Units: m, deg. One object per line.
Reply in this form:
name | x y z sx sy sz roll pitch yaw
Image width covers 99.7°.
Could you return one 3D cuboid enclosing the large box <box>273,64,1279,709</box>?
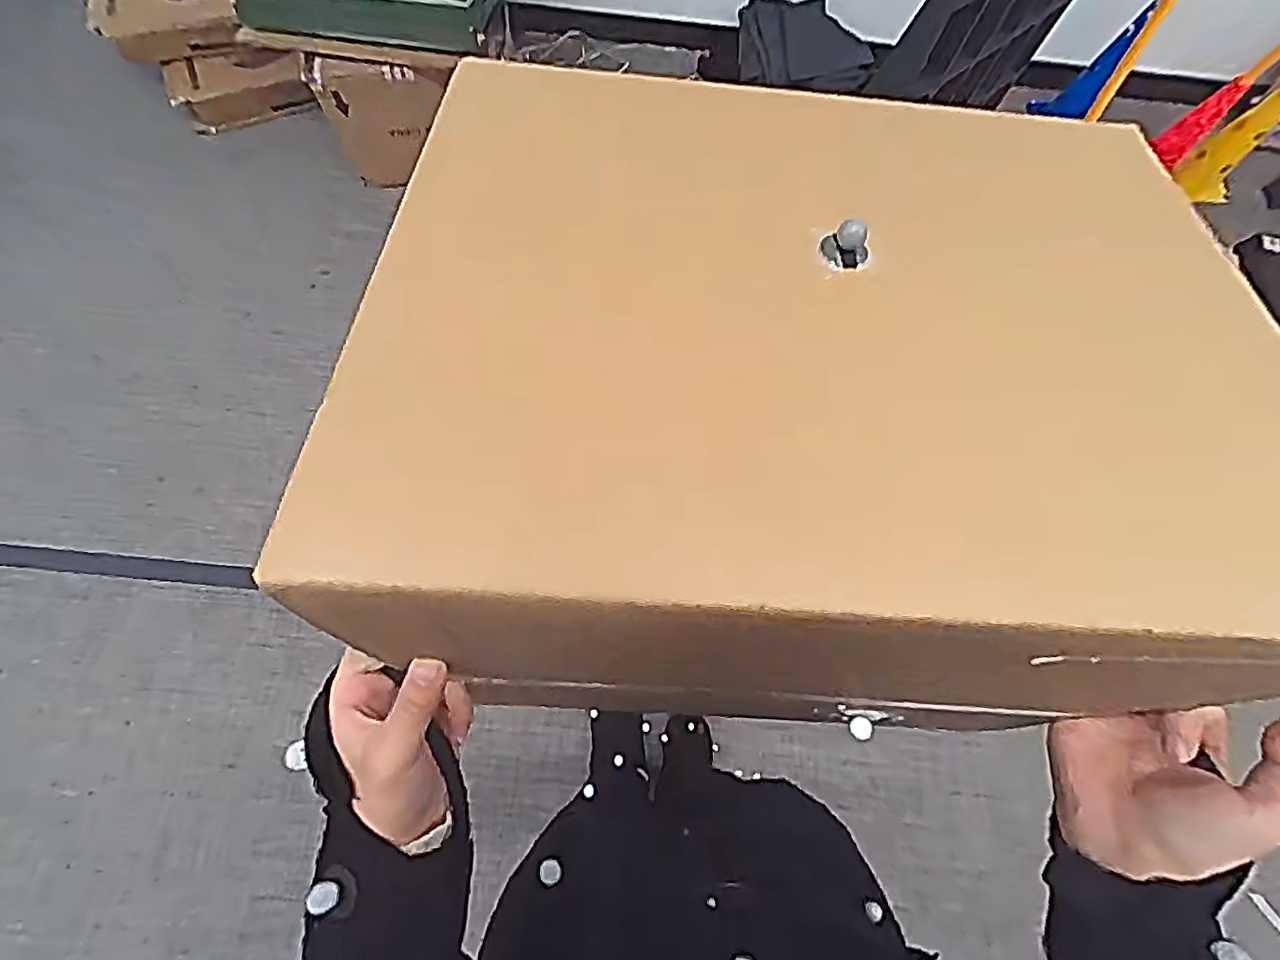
large box | 0.077 -0.029 0.372 0.408 0.320 0.320 3 63 -2
